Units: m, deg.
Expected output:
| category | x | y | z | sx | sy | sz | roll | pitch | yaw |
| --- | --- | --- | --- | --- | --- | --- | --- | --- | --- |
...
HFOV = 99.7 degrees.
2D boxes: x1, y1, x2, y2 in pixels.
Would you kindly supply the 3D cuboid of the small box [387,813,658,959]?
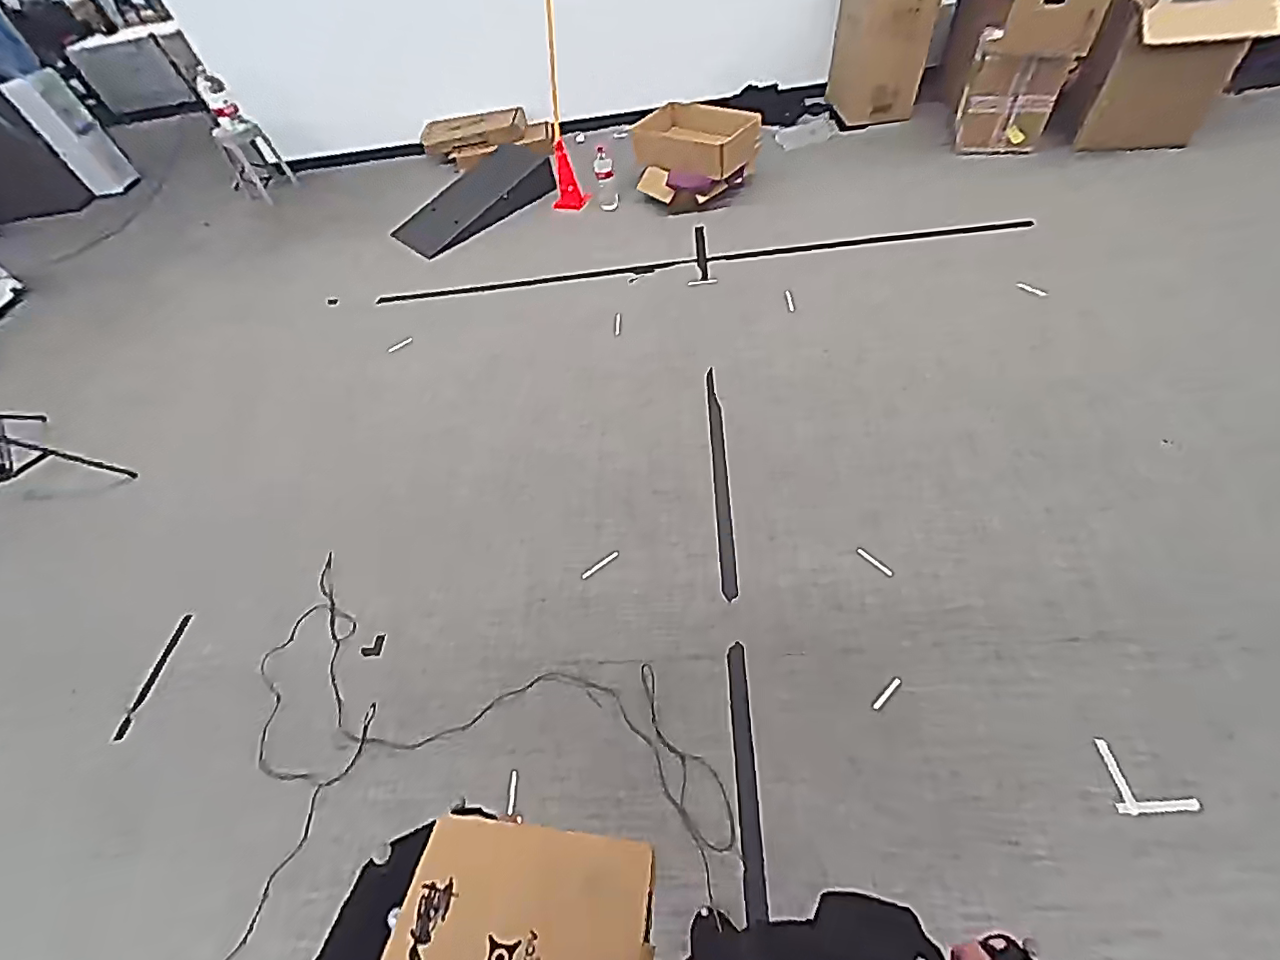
| category | x | y | z | sx | sy | sz | roll | pitch | yaw |
| --- | --- | --- | --- | --- | --- | --- | --- | --- | --- |
| small box | -0.086 | 0.390 | 0.411 | 0.179 | 0.176 | 0.168 | 6 | 35 | 6 |
